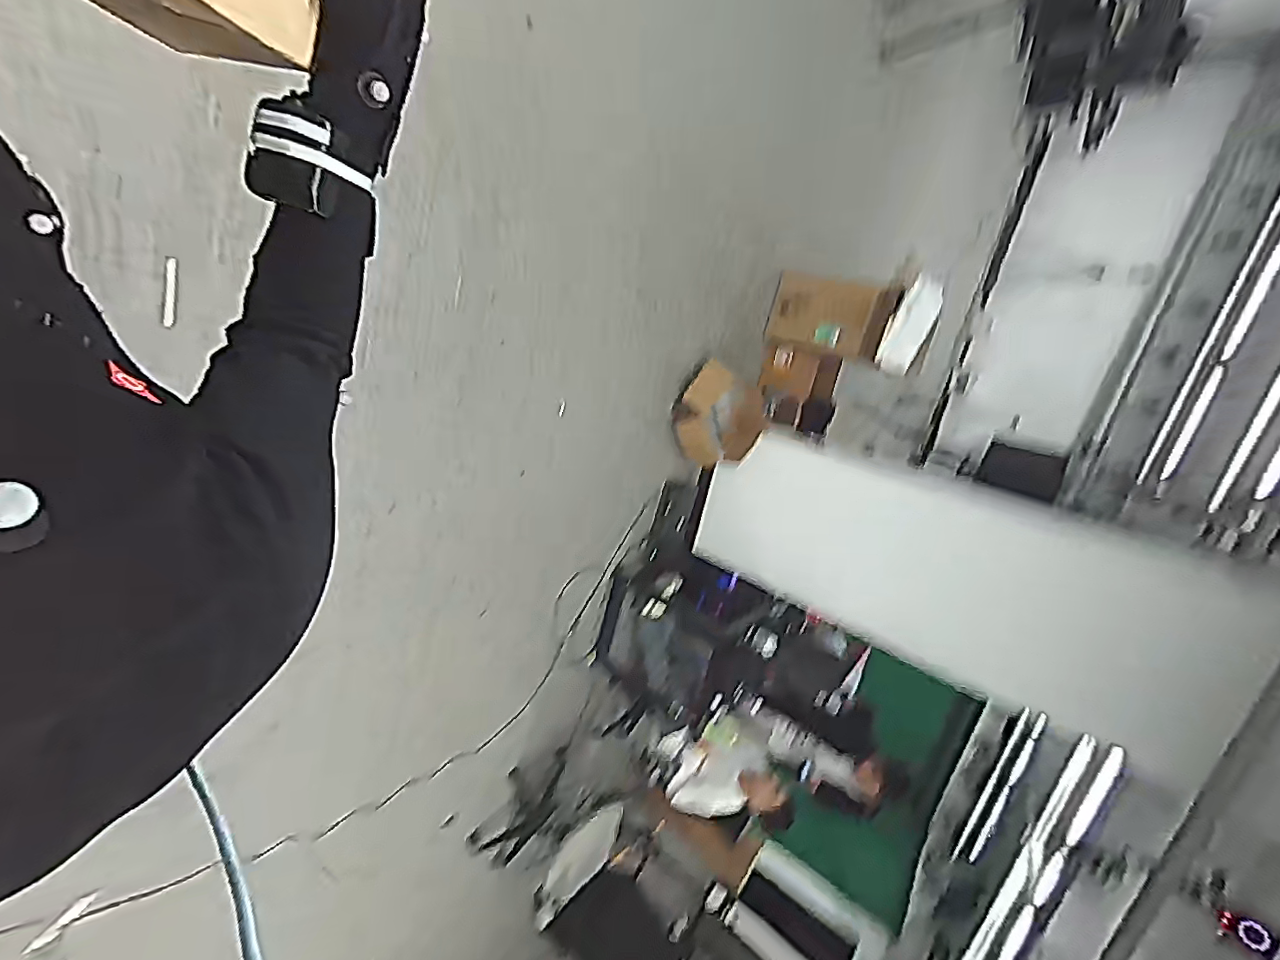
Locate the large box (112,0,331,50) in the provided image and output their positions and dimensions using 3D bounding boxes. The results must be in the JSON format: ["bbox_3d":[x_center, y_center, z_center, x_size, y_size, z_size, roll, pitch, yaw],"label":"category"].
[{"bbox_3d":[-0.396,-0.517,0.267,0.408,0.320,0.320,4,114,-58],"label":"large box"}]
